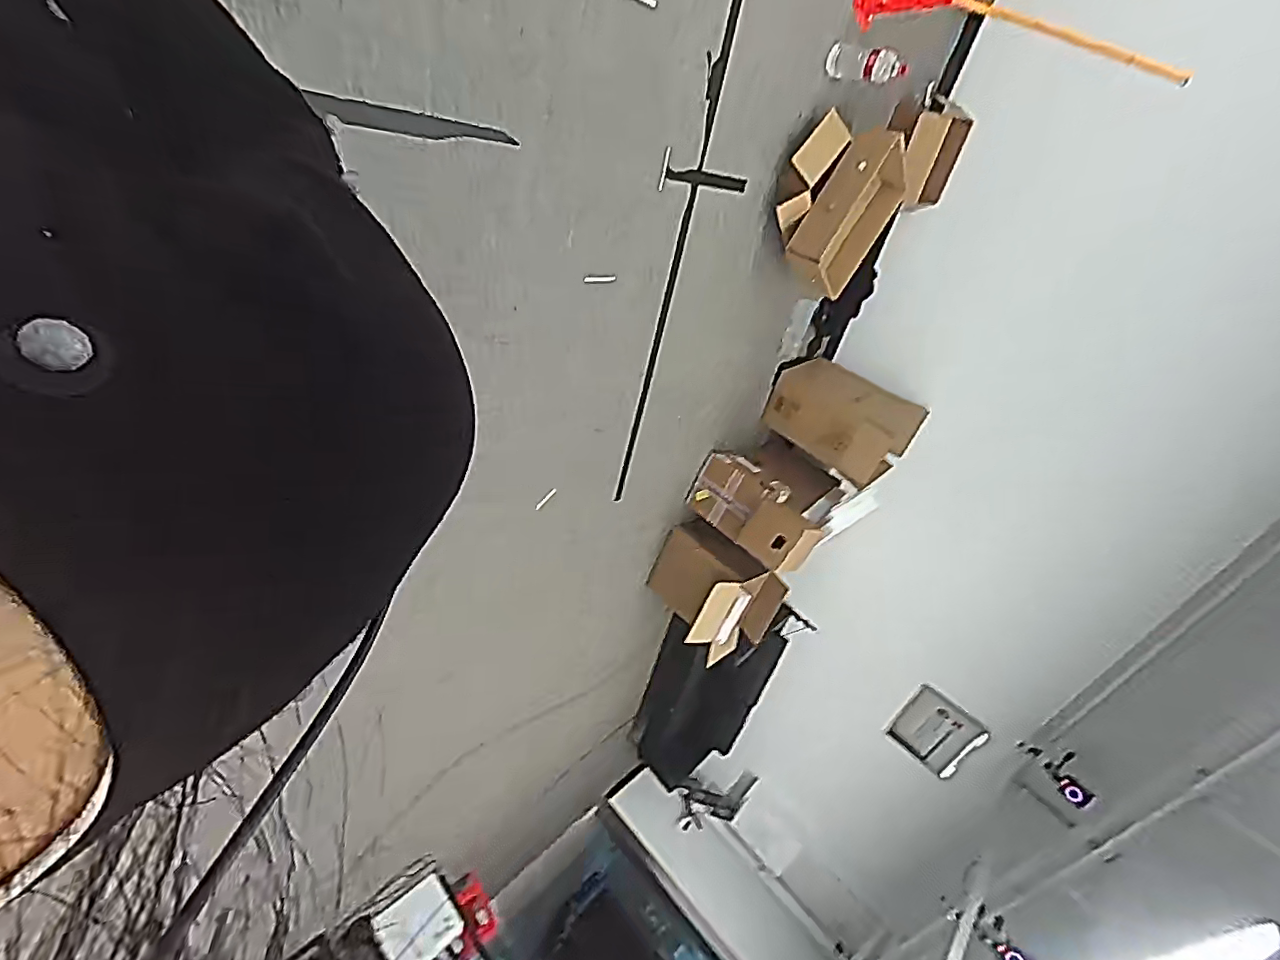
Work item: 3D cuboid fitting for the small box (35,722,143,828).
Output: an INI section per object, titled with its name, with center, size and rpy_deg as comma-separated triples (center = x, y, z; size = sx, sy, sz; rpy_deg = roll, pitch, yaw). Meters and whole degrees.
[small box]
center = -1.567, 0.833, 1.541
size = 0.168, 0.176, 0.179
rpy_deg = -24, 141, -41
